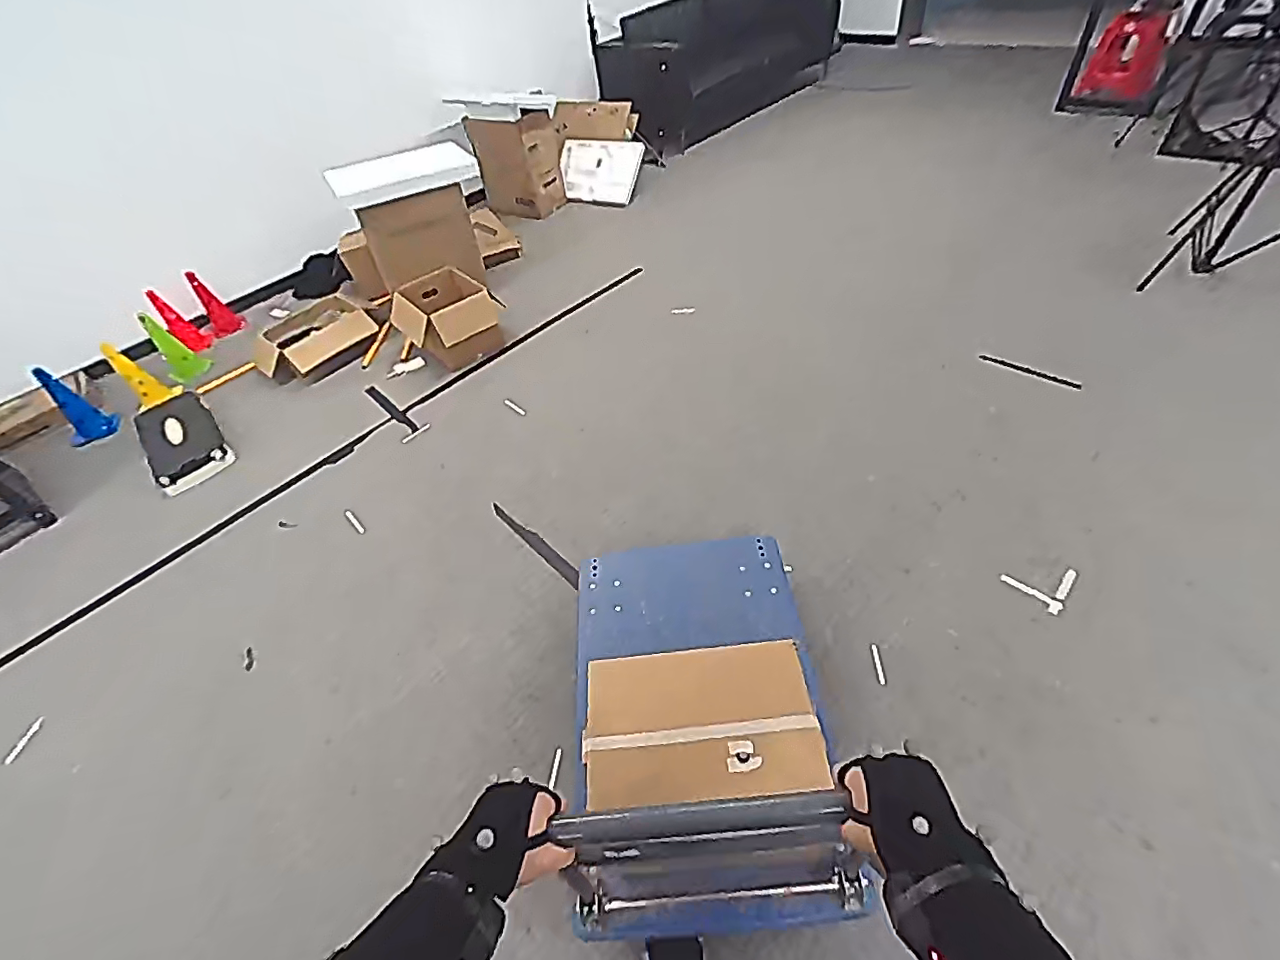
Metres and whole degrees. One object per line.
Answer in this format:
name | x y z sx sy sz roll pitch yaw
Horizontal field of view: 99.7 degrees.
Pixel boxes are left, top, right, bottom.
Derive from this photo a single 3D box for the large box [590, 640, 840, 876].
large box | 0.124 0.548 1.060 0.408 0.320 0.320 -7 47 2
